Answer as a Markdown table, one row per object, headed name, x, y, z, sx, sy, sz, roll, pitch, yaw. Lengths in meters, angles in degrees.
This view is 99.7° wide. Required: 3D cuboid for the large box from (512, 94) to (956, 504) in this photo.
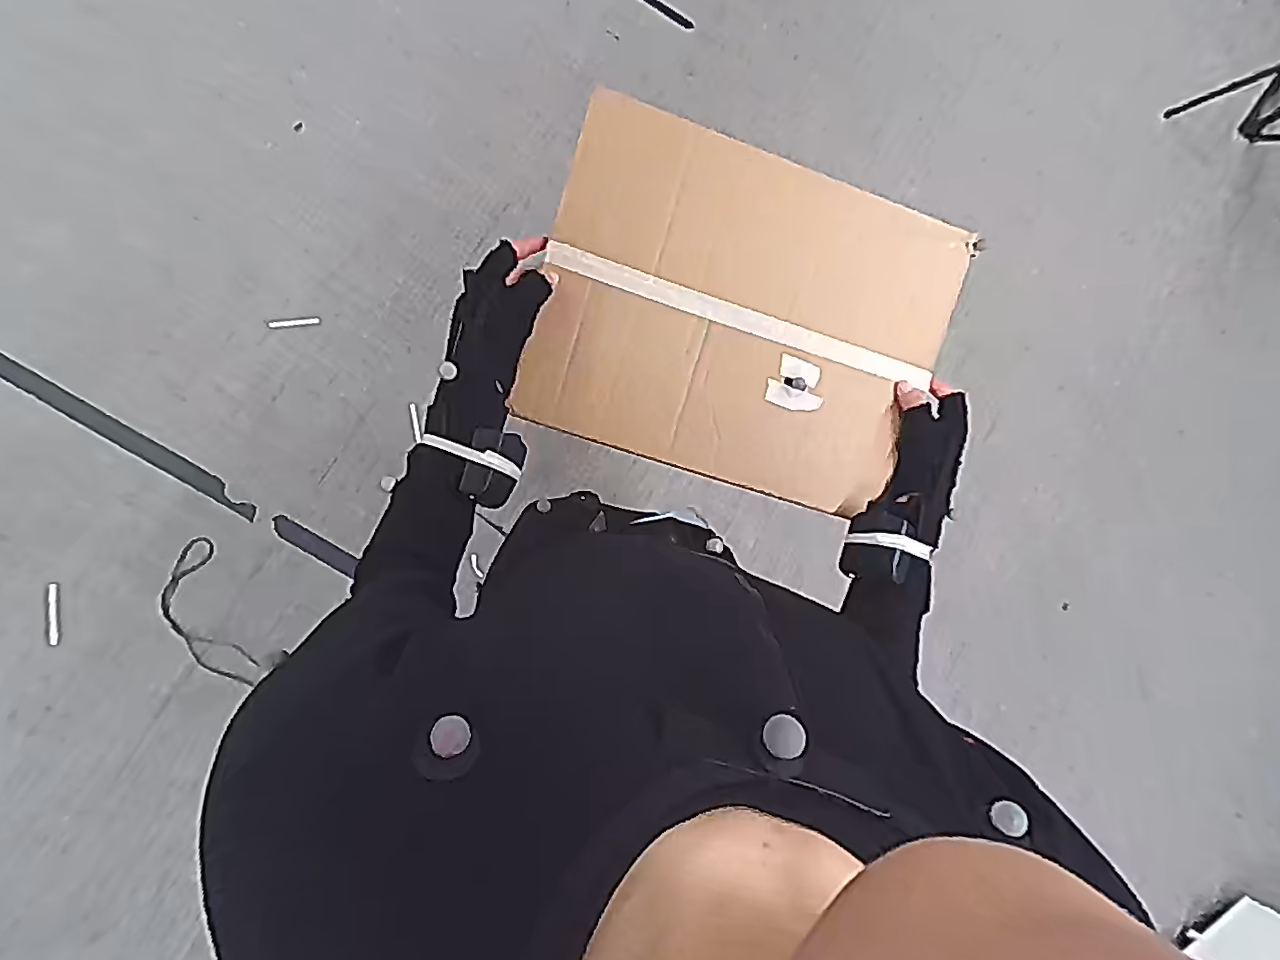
| name | x | y | z | sx | sy | sz | roll | pitch | yaw |
| --- | --- | --- | --- | --- | --- | --- | --- | --- | --- |
| large box | 0.083 | -0.186 | 0.696 | 0.408 | 0.320 | 0.320 | 17 | 95 | -8 |
